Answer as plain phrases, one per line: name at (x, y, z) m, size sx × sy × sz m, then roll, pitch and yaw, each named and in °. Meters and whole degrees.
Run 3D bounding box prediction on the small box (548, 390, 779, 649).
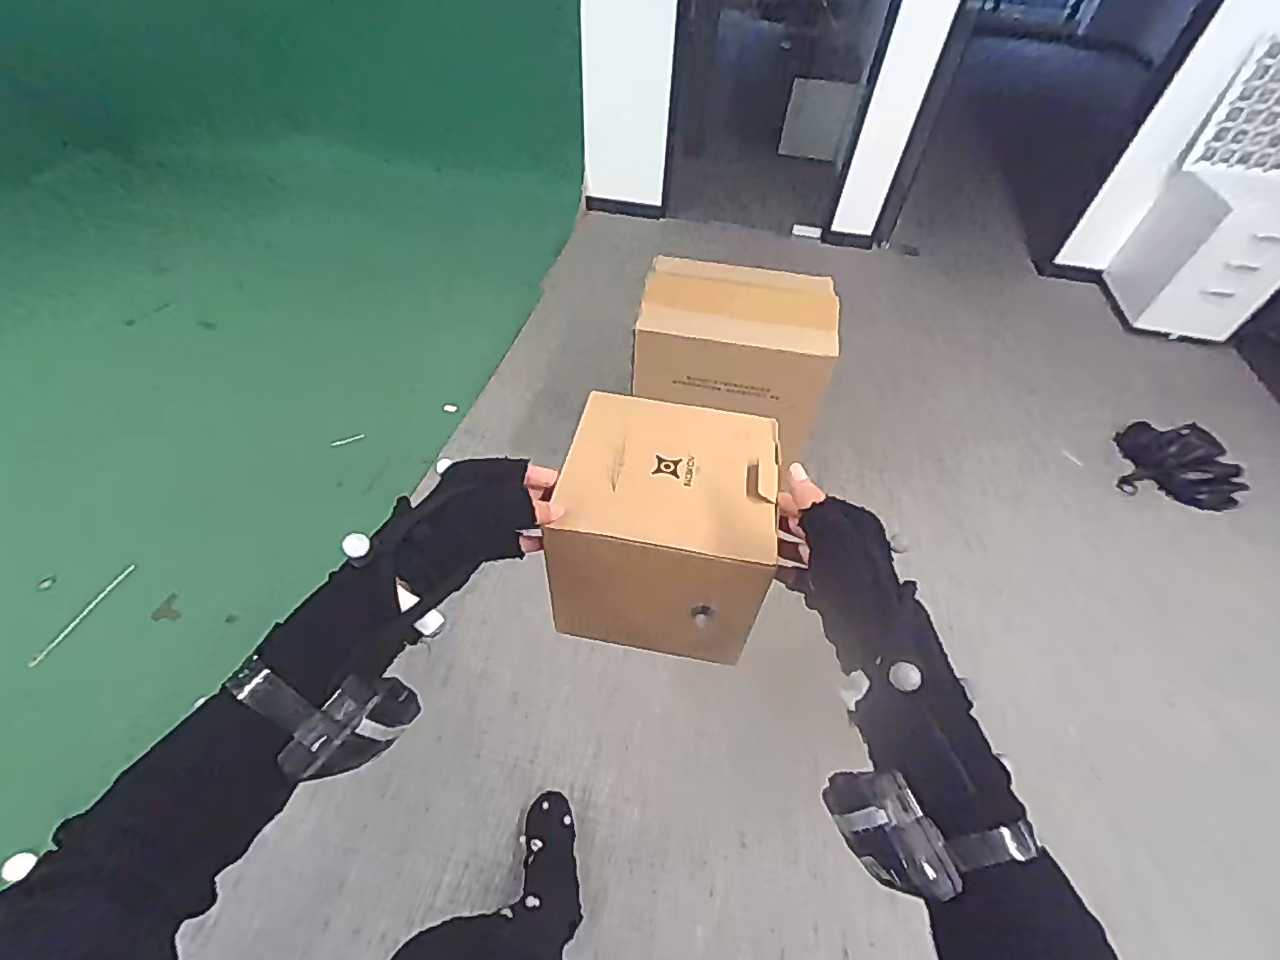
small box at (0.024, 0.041, 0.511) m, size 0.179 × 0.176 × 0.168 m, roll 8°, pitch 46°, yaw 4°
